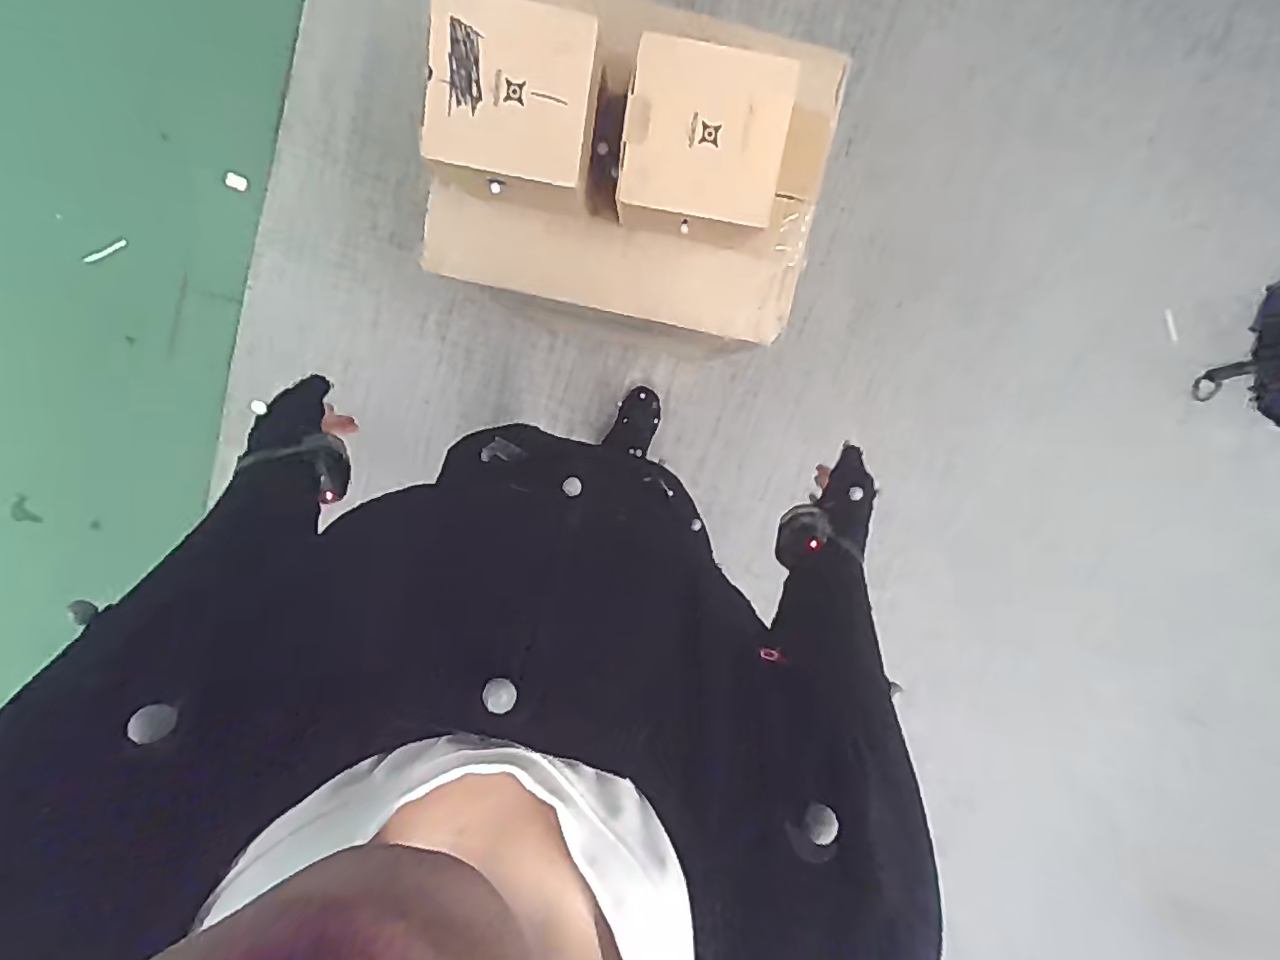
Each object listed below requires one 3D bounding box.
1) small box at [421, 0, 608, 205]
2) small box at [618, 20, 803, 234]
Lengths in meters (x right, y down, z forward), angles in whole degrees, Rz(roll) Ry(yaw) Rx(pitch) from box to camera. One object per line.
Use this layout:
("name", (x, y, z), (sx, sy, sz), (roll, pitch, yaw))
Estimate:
("small box", (-0.139, -0.445, 0.647), (0.179, 0.176, 0.168), (10, 106, -3))
("small box", (0.072, -0.409, 0.660), (0.179, 0.176, 0.168), (8, 107, -4))
